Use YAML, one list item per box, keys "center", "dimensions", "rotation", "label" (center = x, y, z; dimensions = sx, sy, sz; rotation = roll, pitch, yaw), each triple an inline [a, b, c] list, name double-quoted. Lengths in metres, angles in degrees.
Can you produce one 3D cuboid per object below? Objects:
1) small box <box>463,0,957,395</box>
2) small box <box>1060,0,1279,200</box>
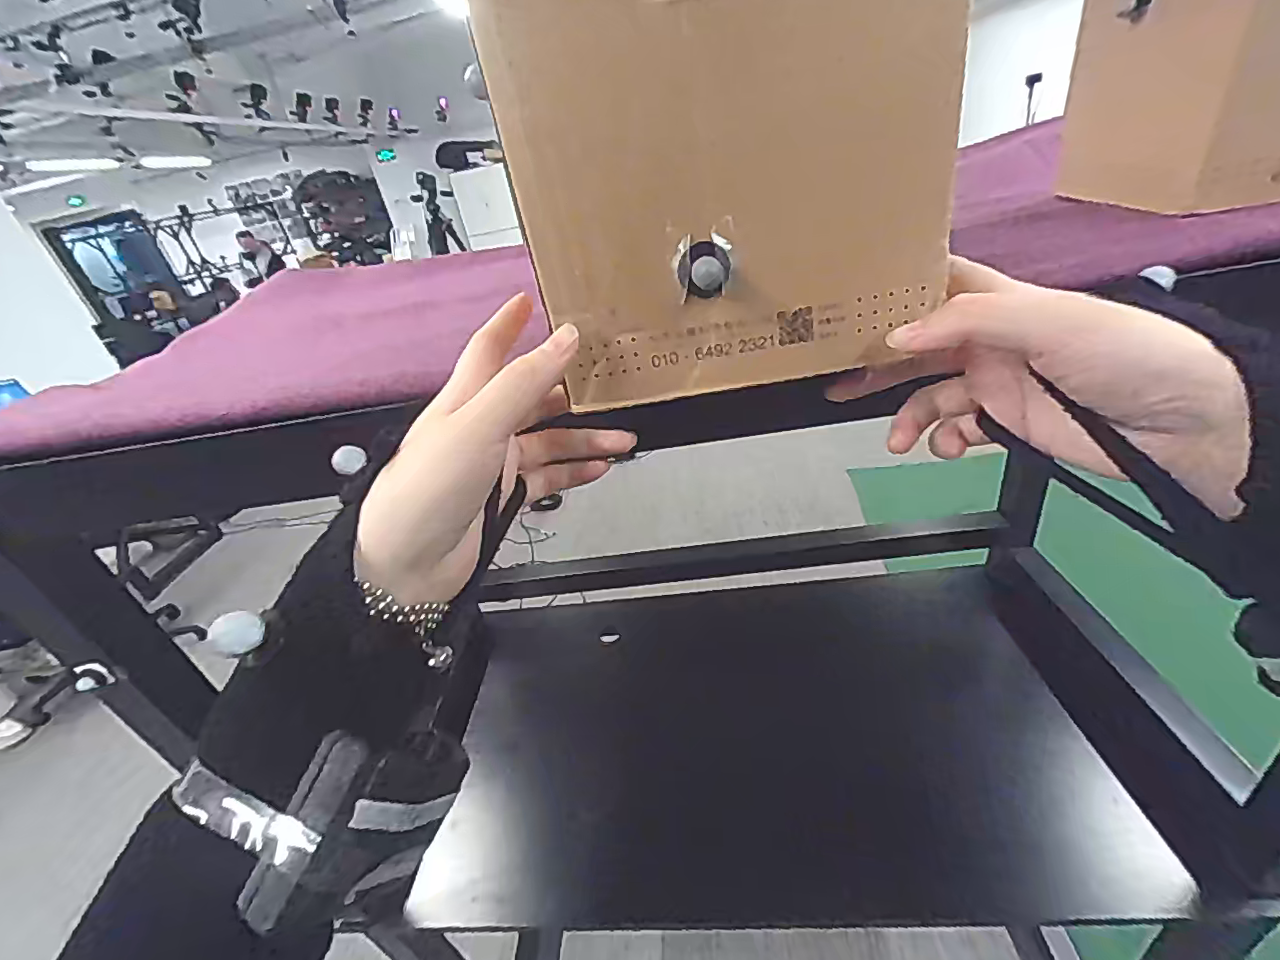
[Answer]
- center: [0.030, -0.158, 0.274]
  dimensions: [0.168, 0.176, 0.179]
  rotation: [-9, 31, 6]
  label: "small box"
- center: [0.416, -0.293, 0.352]
  dimensions: [0.168, 0.176, 0.179]
  rotation: [-6, 32, 13]
  label: "small box"
